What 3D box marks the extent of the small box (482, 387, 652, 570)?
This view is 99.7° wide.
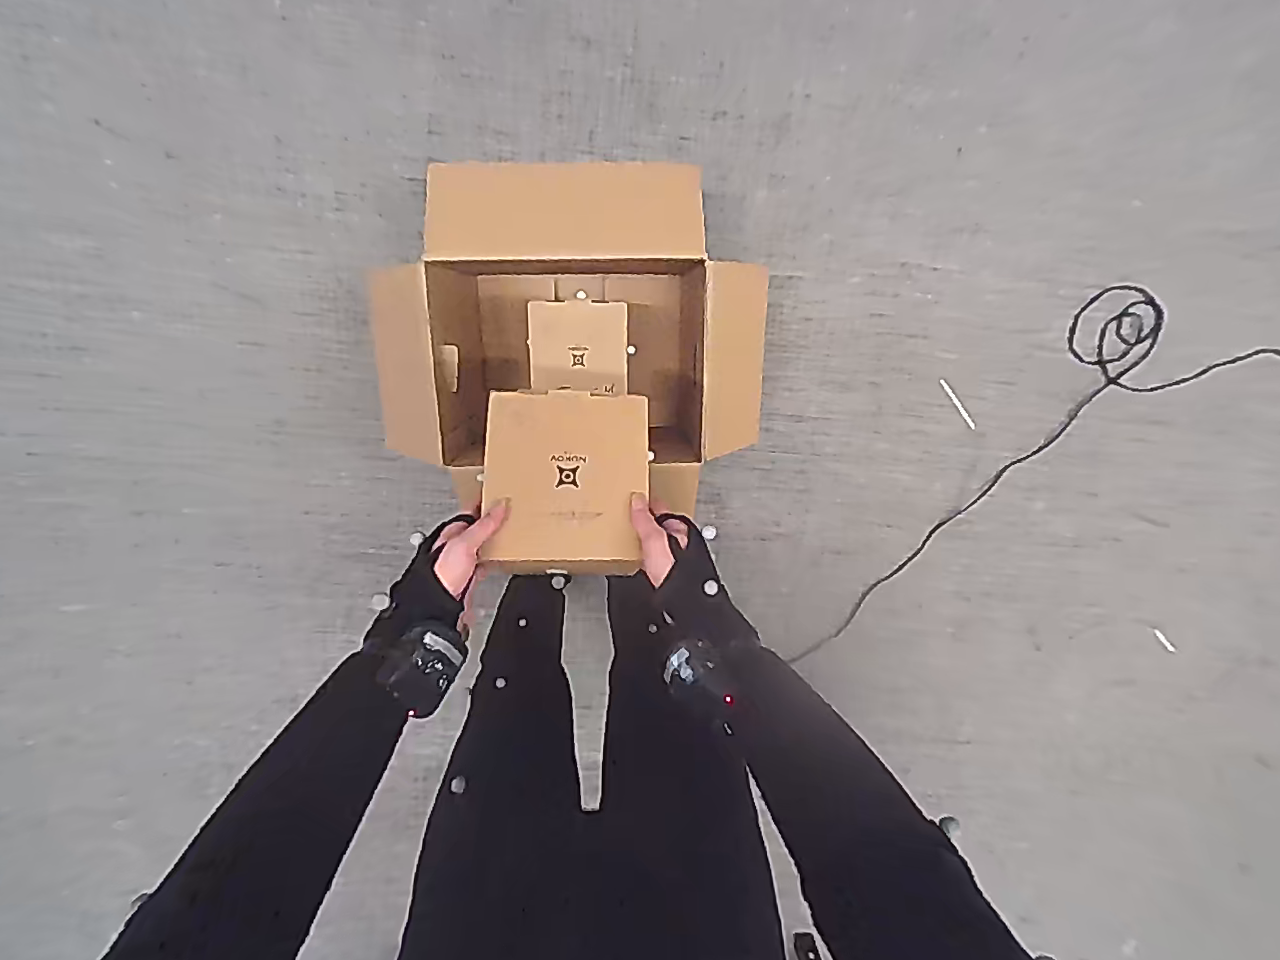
[{"bbox_3d":[-0.079,0.008,0.619,0.168,0.176,0.179,0,77,-5],"label":"small box"}]
